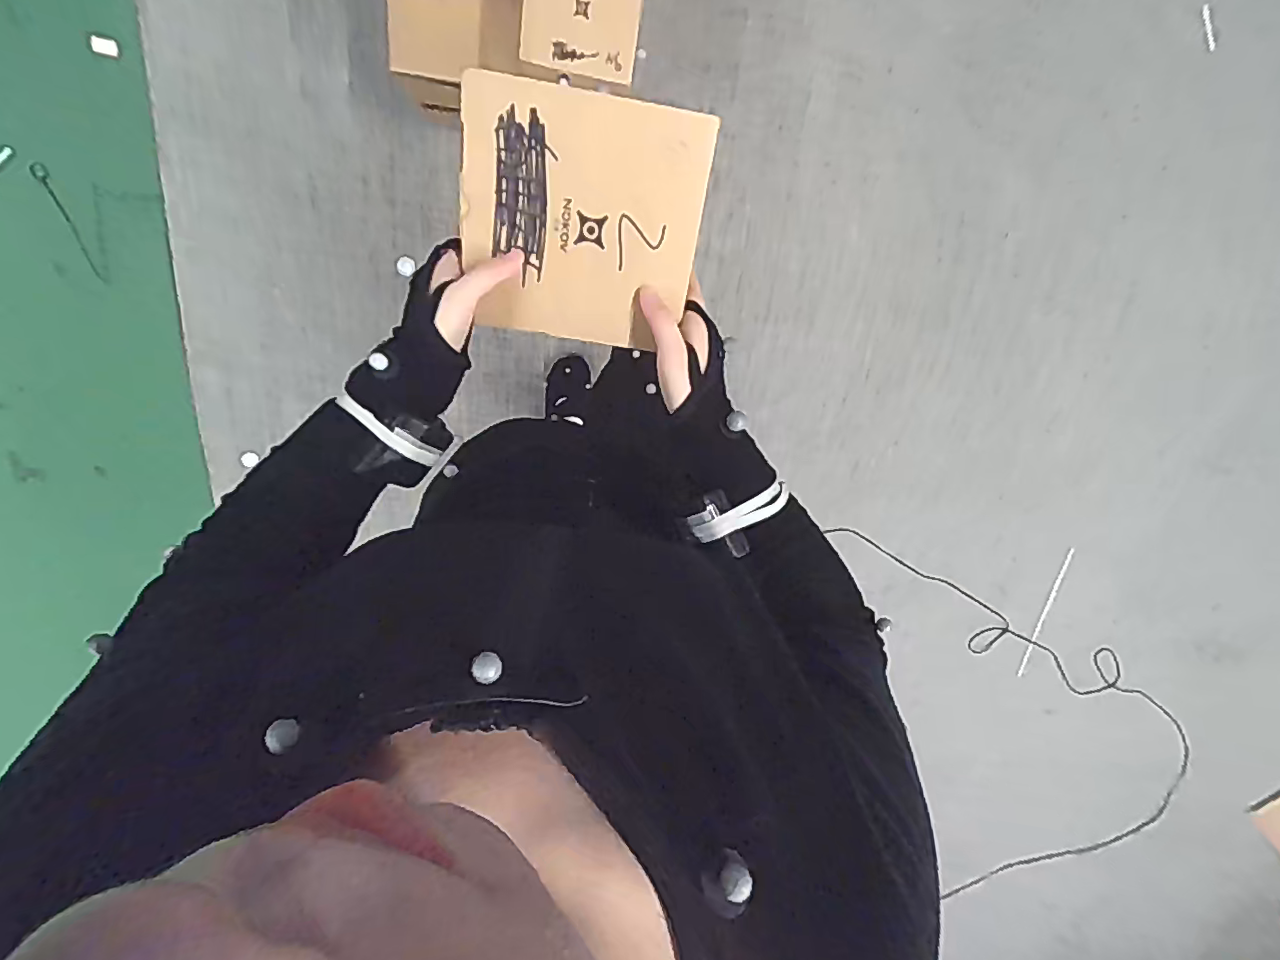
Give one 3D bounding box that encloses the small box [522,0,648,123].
[{"bbox_3d":[-0.081,-0.693,0.838,0.168,0.176,0.179,9,108,-7],"label":"small box"}]
